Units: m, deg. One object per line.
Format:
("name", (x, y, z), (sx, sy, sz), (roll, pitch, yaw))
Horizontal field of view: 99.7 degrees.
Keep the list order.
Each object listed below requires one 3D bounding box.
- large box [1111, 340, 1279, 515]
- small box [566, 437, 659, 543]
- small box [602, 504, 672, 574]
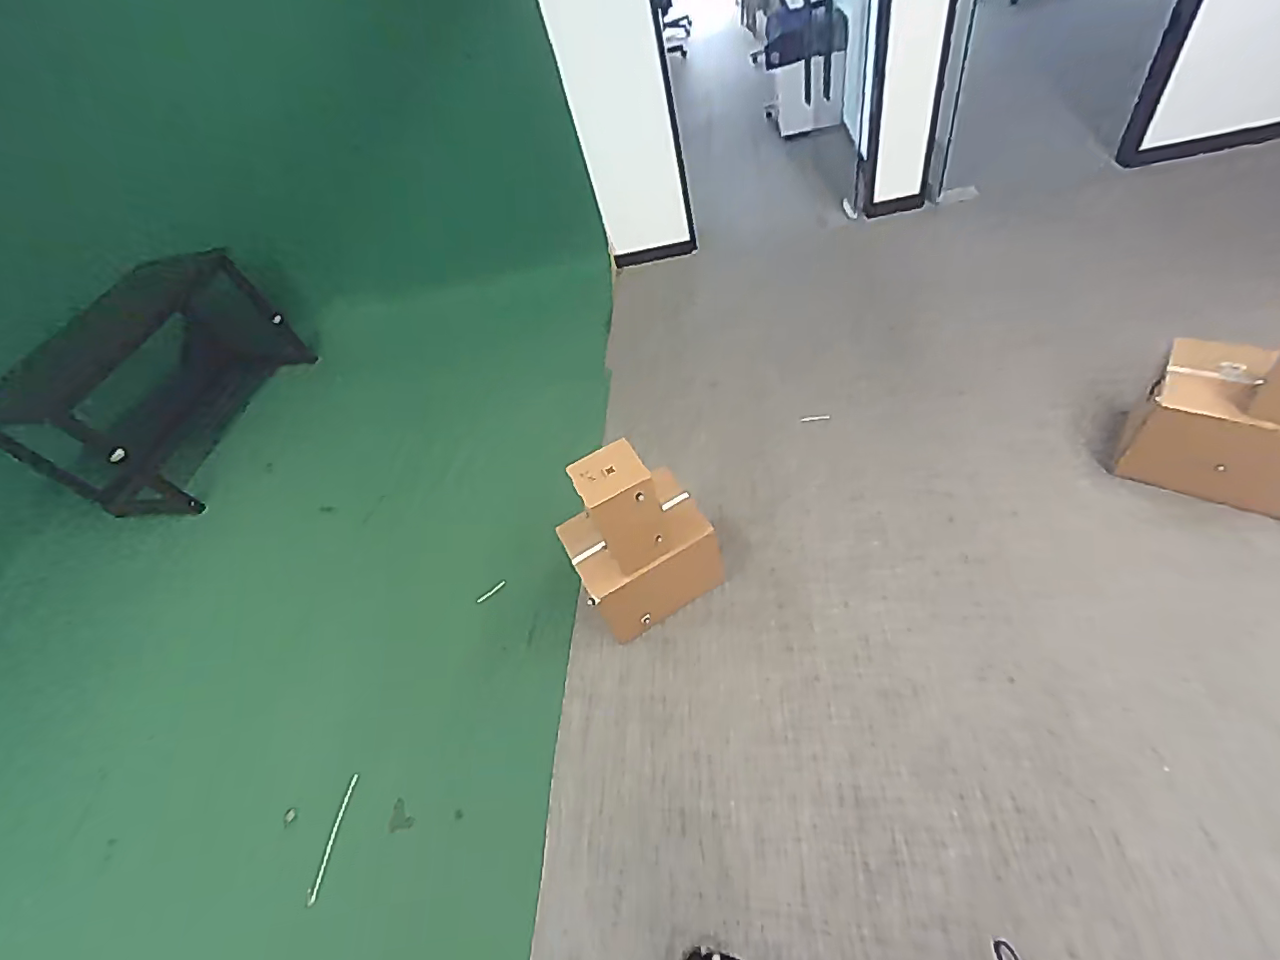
("large box", (1.682, -0.155, 1.546), (0.408, 0.320, 0.320), (22, 60, 31))
("small box", (-0.063, 0.028, 1.385), (0.179, 0.176, 0.168), (-28, 49, -7))
("small box", (-0.025, 0.127, 1.511), (0.179, 0.176, 0.168), (-30, 50, -8))
